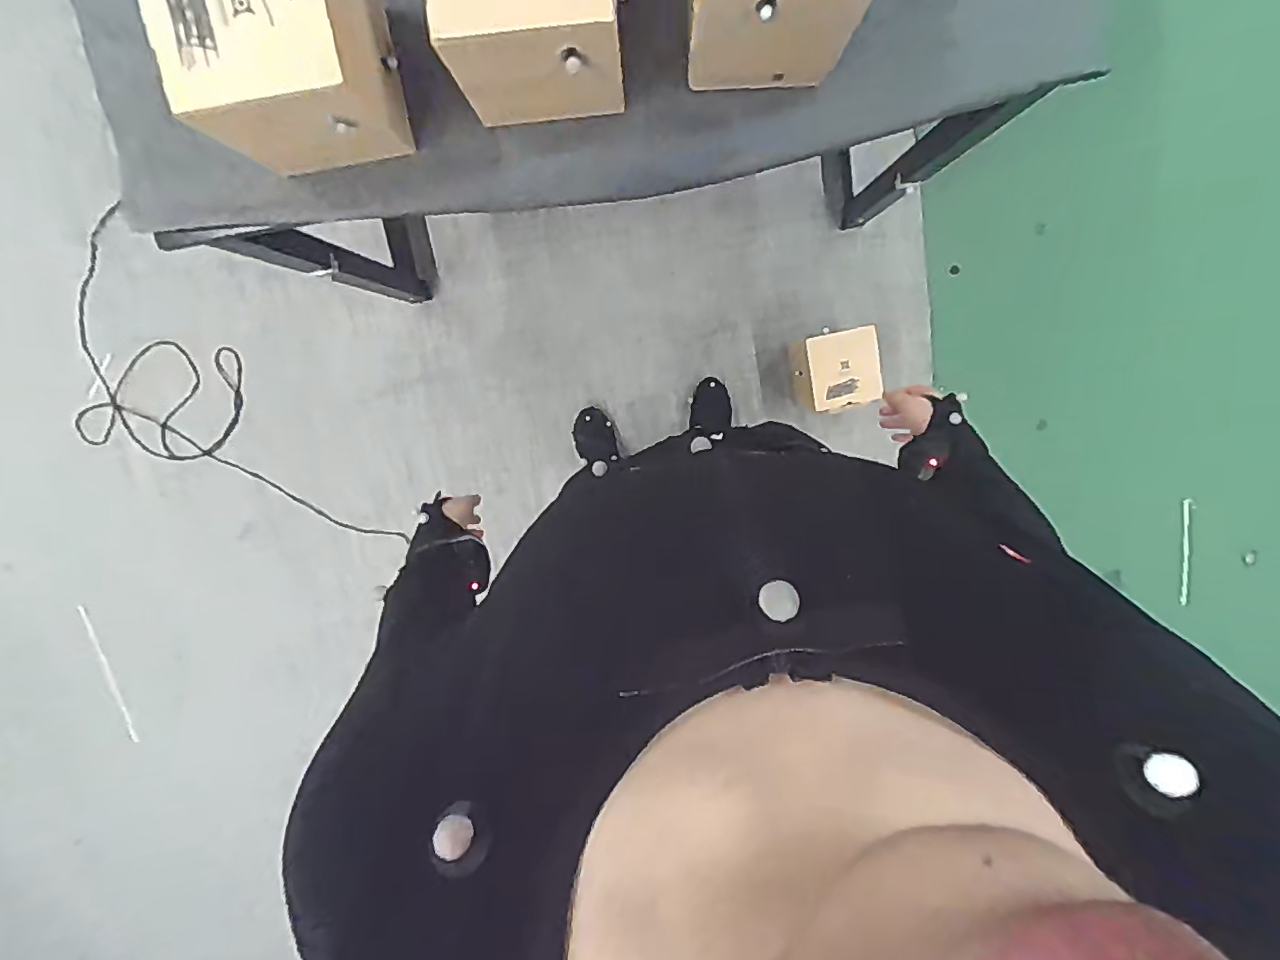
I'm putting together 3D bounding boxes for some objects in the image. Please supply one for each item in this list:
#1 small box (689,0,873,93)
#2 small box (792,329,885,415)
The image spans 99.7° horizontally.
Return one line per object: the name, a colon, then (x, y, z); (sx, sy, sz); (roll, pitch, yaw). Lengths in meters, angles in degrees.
small box: (0.137, -0.539, 0.556); (0.168, 0.176, 0.179); (0, 98, 2)
small box: (0.487, -0.267, 1.341); (0.168, 0.176, 0.179); (-11, 100, 4)
